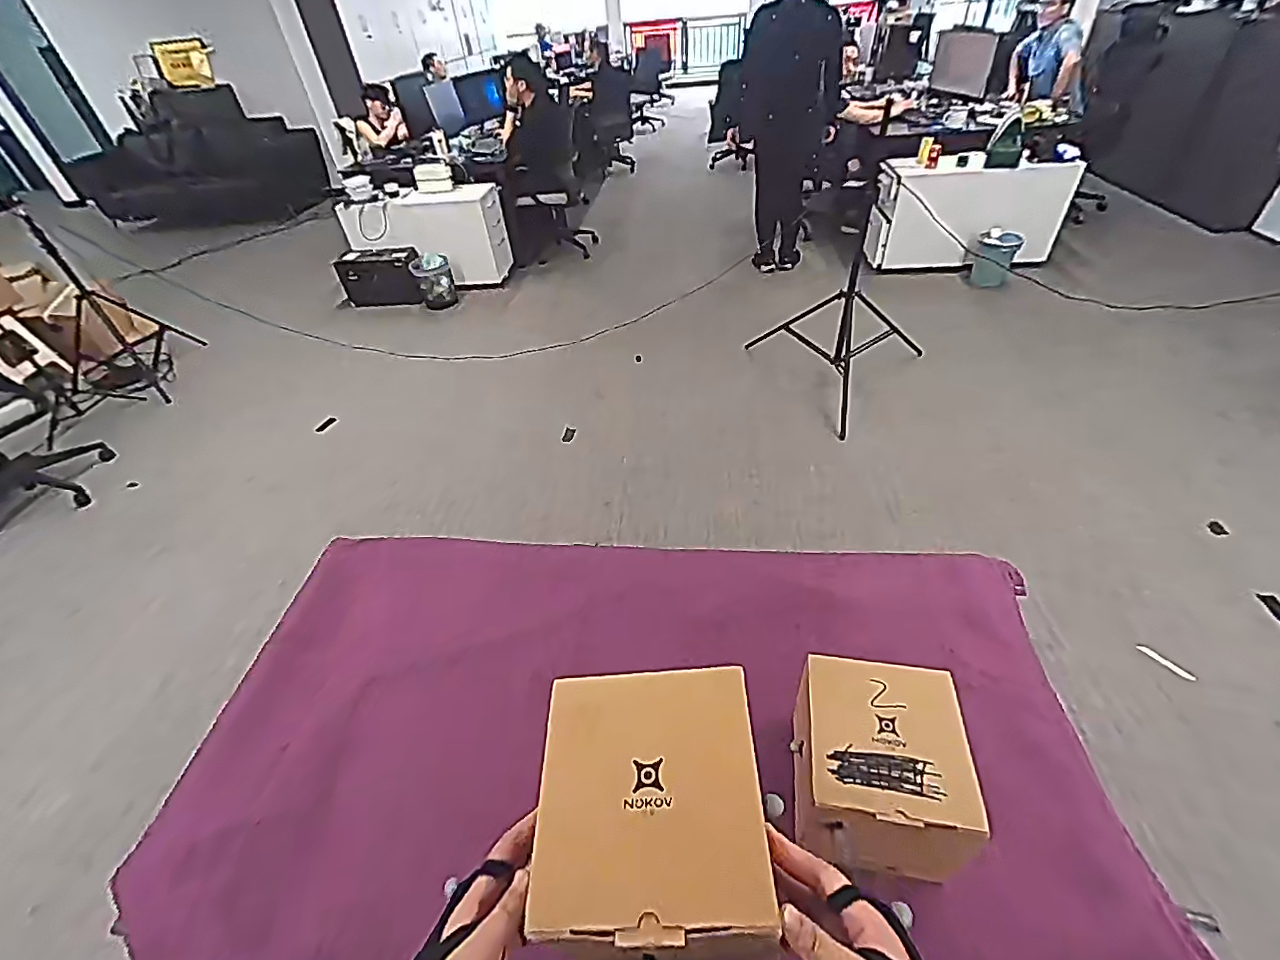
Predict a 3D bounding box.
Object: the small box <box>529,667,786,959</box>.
[{"bbox_3d":[0.020,0.282,0.453,0.168,0.176,0.179,-6,43,5],"label":"small box"}]
